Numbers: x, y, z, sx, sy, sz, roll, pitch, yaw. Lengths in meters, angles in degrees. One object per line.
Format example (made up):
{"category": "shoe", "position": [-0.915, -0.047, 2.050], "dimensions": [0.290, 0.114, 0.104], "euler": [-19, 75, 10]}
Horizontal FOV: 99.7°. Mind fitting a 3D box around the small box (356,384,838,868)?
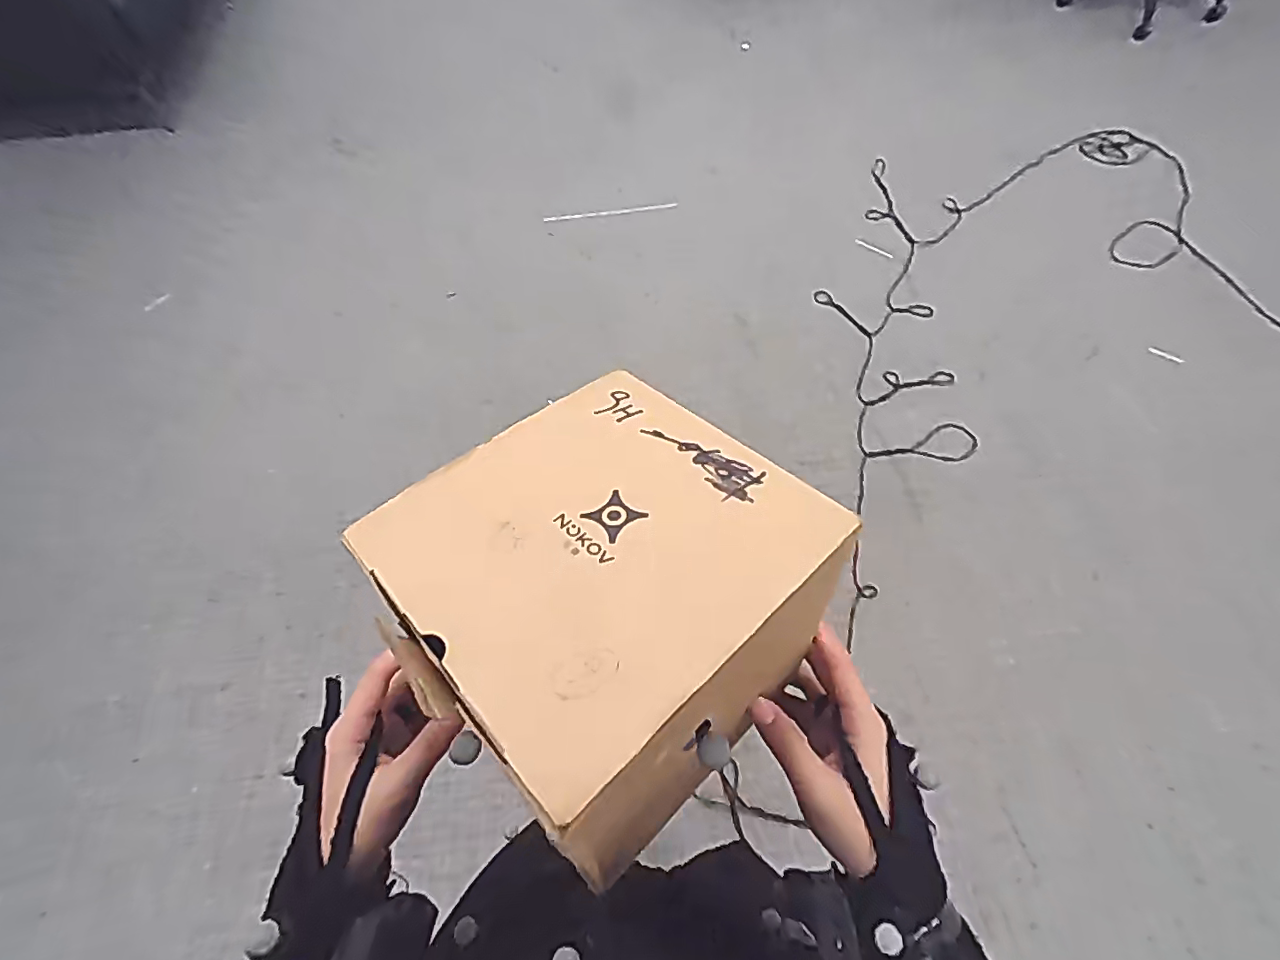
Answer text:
{"category": "small box", "position": [-0.017, 0.081, 0.315], "dimensions": [0.179, 0.176, 0.168], "euler": [-37, 55, -27]}
